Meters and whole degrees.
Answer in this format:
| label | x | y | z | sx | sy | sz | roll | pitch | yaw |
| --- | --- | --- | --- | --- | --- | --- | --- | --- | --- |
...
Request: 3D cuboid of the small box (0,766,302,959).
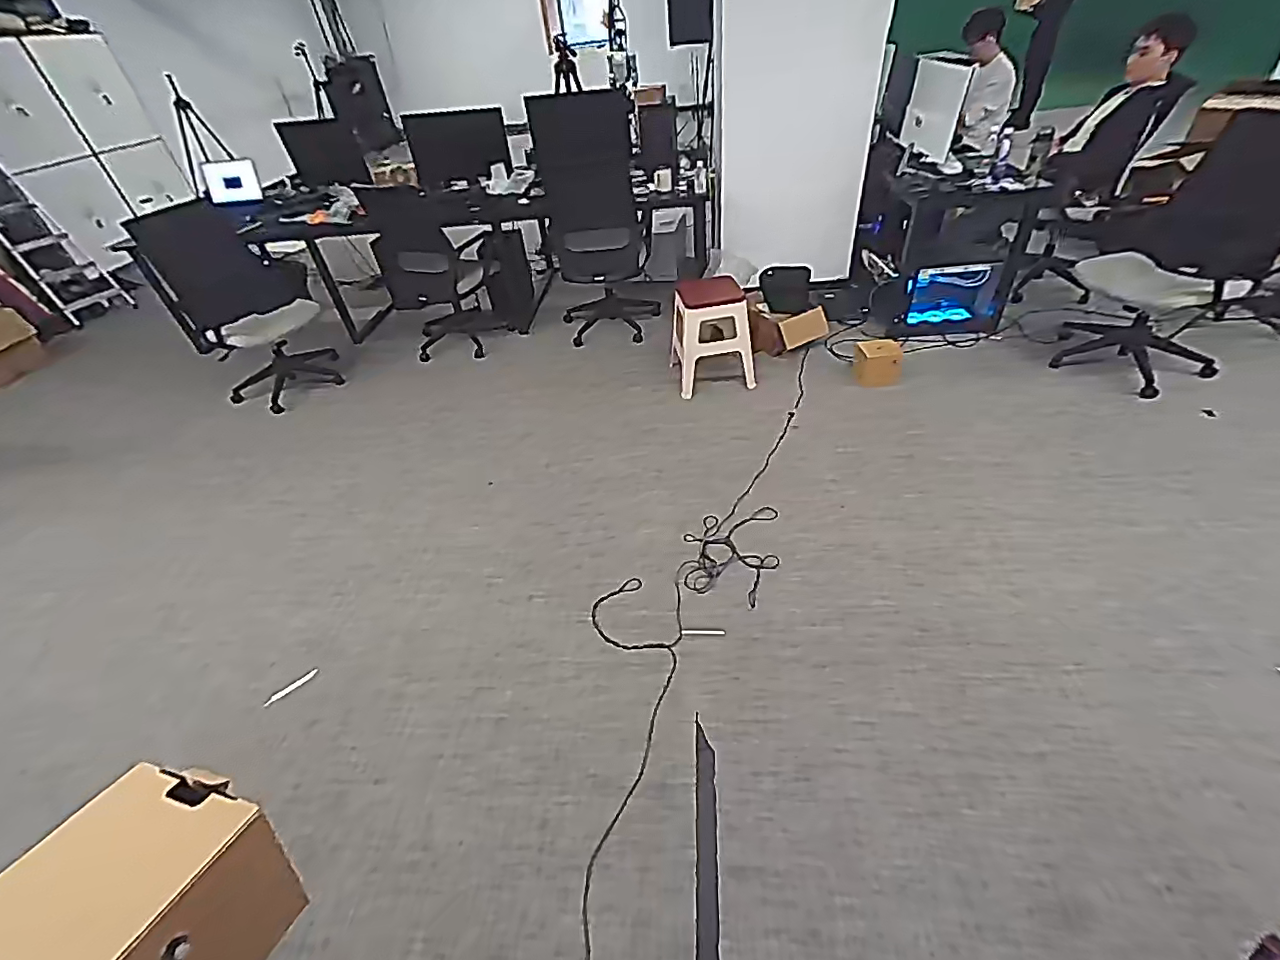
| label | x | y | z | sx | sy | sz | roll | pitch | yaw |
| --- | --- | --- | --- | --- | --- | --- | --- | --- | --- |
| small box | -0.459 | 0.415 | 0.500 | 0.168 | 0.176 | 0.179 | 8 | 27 | 16 |
